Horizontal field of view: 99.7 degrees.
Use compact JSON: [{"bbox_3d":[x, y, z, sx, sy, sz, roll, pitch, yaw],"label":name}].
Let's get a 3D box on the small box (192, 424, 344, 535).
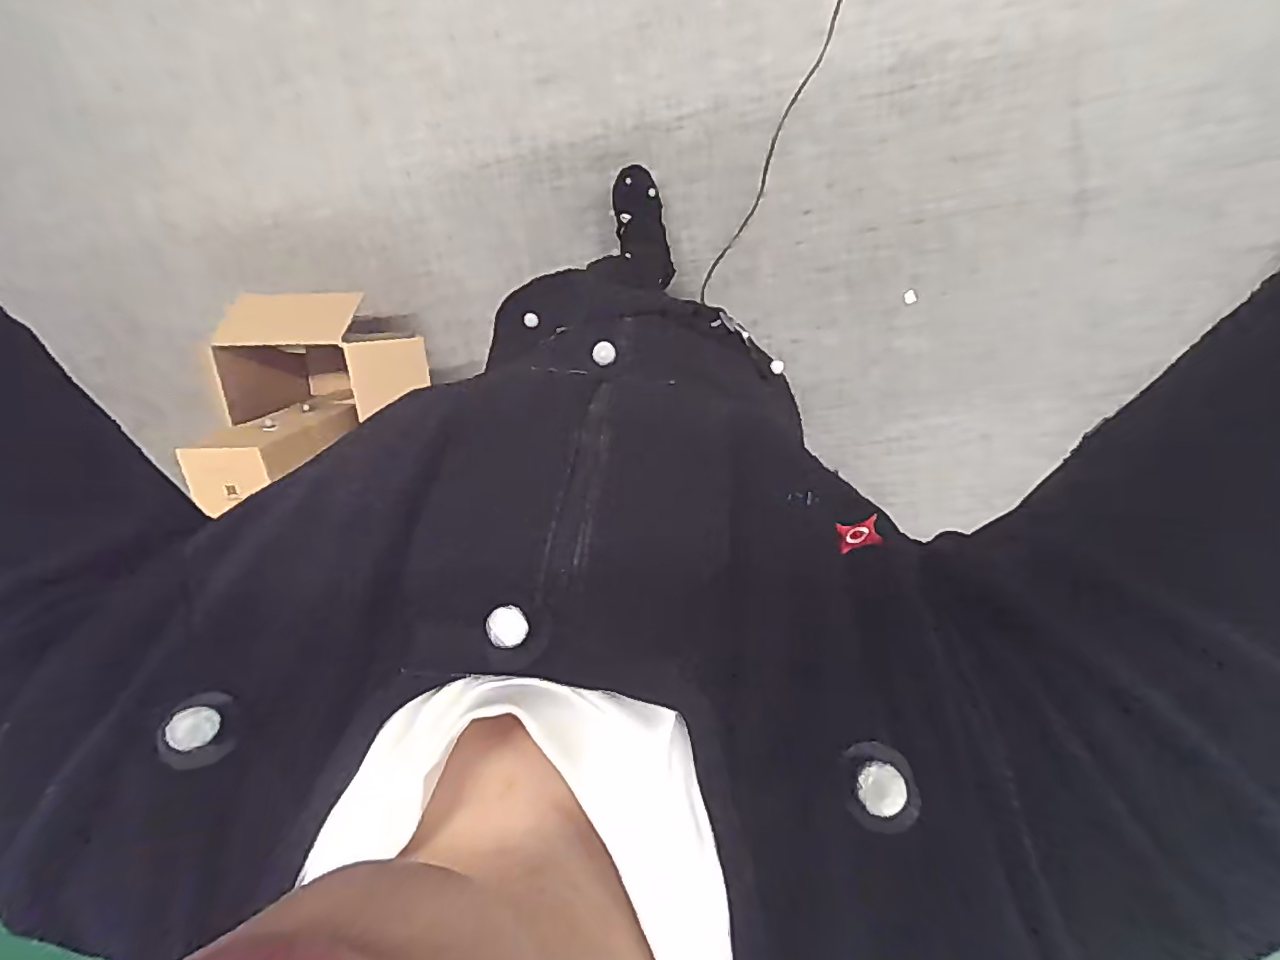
[{"bbox_3d":[-0.739,-0.004,1.099,0.168,0.176,0.179,-2,112,5],"label":"small box"}]
